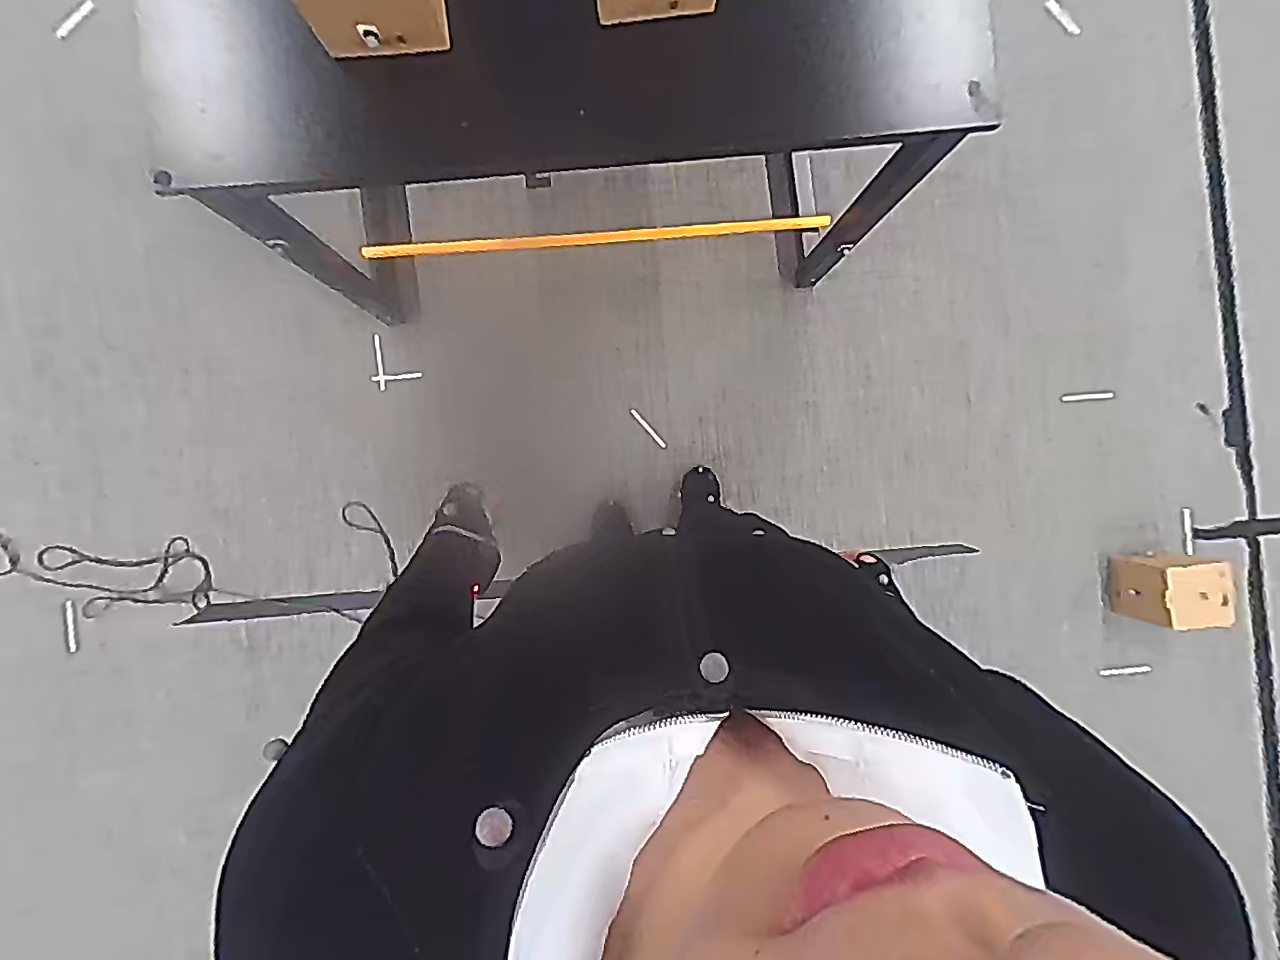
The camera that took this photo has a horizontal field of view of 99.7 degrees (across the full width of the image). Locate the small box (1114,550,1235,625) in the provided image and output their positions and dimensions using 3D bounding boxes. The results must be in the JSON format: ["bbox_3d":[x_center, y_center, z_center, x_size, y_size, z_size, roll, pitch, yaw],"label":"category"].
[{"bbox_3d":[1.448,0.289,1.480,0.179,0.176,0.168,-6,91,-1],"label":"small box"}]

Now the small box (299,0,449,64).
[{"bbox_3d":[-0.357,-0.680,0.682,0.168,0.176,0.179,-8,91,-1],"label":"small box"}]

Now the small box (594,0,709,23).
[{"bbox_3d":[0.010,-0.747,0.693,0.168,0.176,0.179,-9,90,-2],"label":"small box"}]
